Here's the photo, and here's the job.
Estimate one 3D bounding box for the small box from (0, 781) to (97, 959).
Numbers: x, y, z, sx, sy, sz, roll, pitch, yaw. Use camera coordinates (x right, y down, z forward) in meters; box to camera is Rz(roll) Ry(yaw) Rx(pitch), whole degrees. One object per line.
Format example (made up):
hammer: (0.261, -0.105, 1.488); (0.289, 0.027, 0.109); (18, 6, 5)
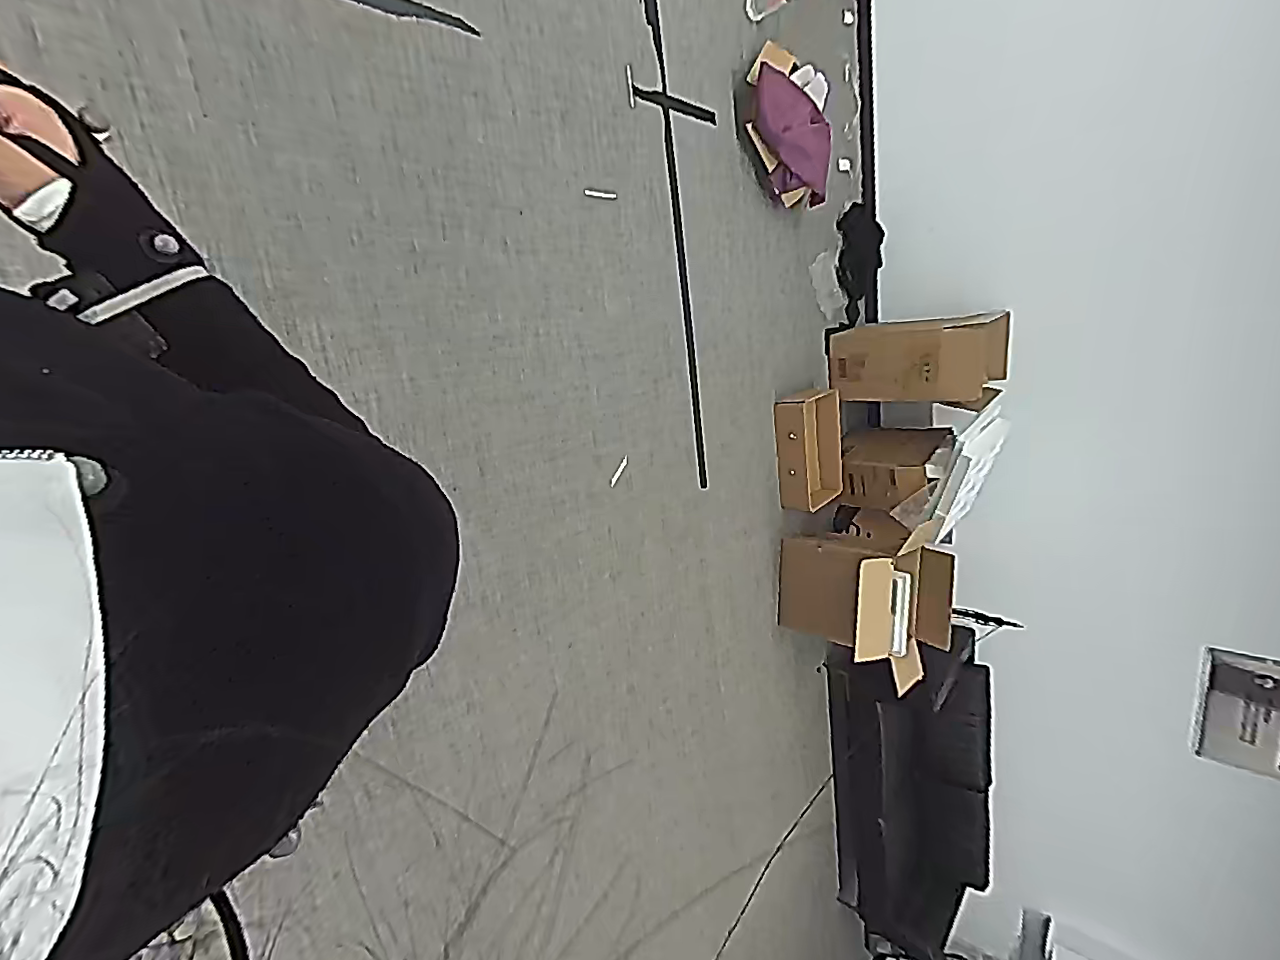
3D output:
small box: (-0.800, 0.514, 0.651); (0.179, 0.176, 0.168); (-22, 109, -42)
